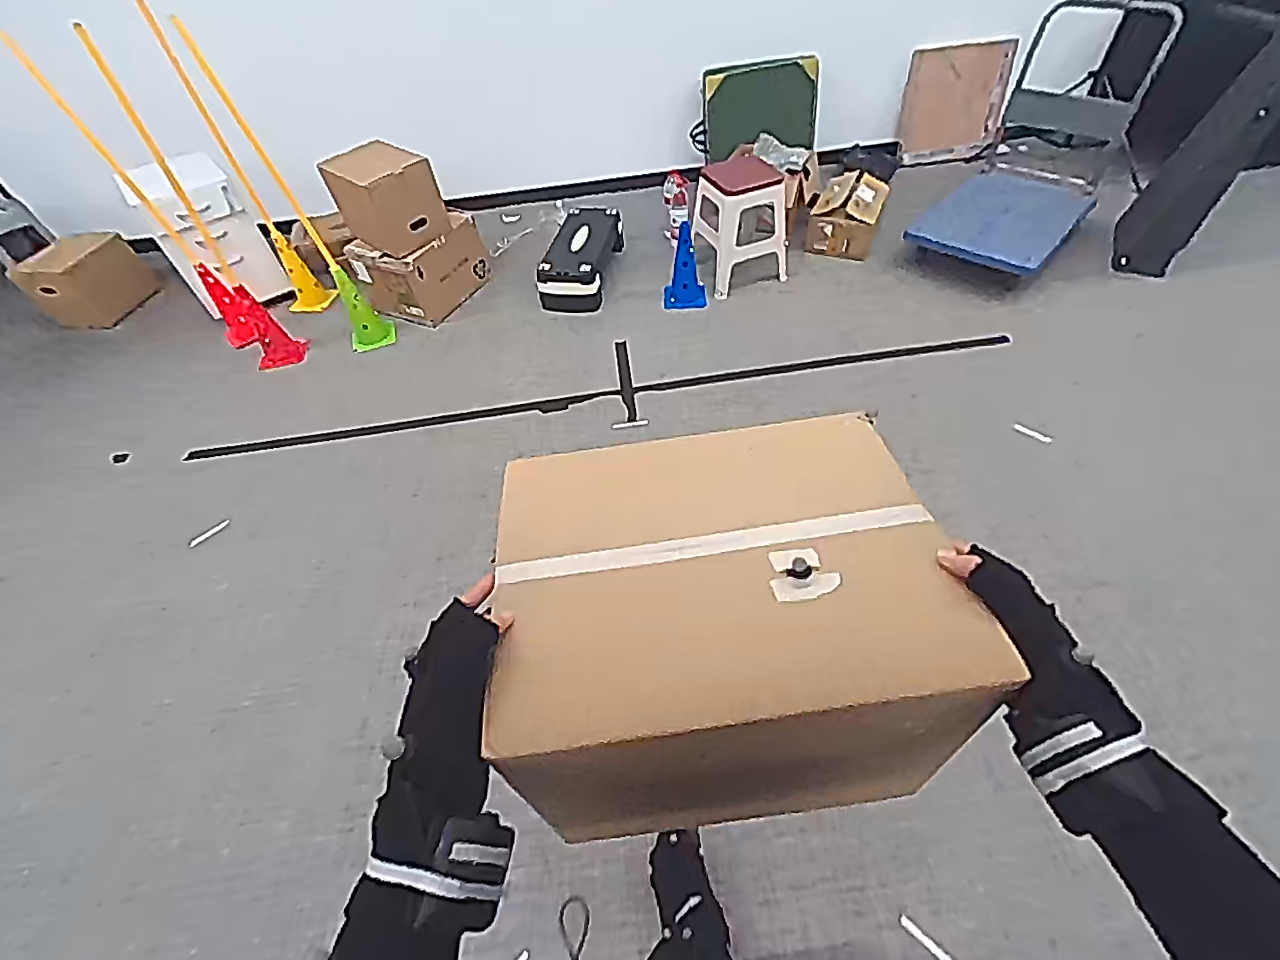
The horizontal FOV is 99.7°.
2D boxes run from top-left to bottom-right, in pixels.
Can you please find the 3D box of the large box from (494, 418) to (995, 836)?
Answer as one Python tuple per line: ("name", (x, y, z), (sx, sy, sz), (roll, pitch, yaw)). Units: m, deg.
("large box", (0.077, 0.167, 0.622), (0.408, 0.320, 0.320), (-8, 46, -1))
